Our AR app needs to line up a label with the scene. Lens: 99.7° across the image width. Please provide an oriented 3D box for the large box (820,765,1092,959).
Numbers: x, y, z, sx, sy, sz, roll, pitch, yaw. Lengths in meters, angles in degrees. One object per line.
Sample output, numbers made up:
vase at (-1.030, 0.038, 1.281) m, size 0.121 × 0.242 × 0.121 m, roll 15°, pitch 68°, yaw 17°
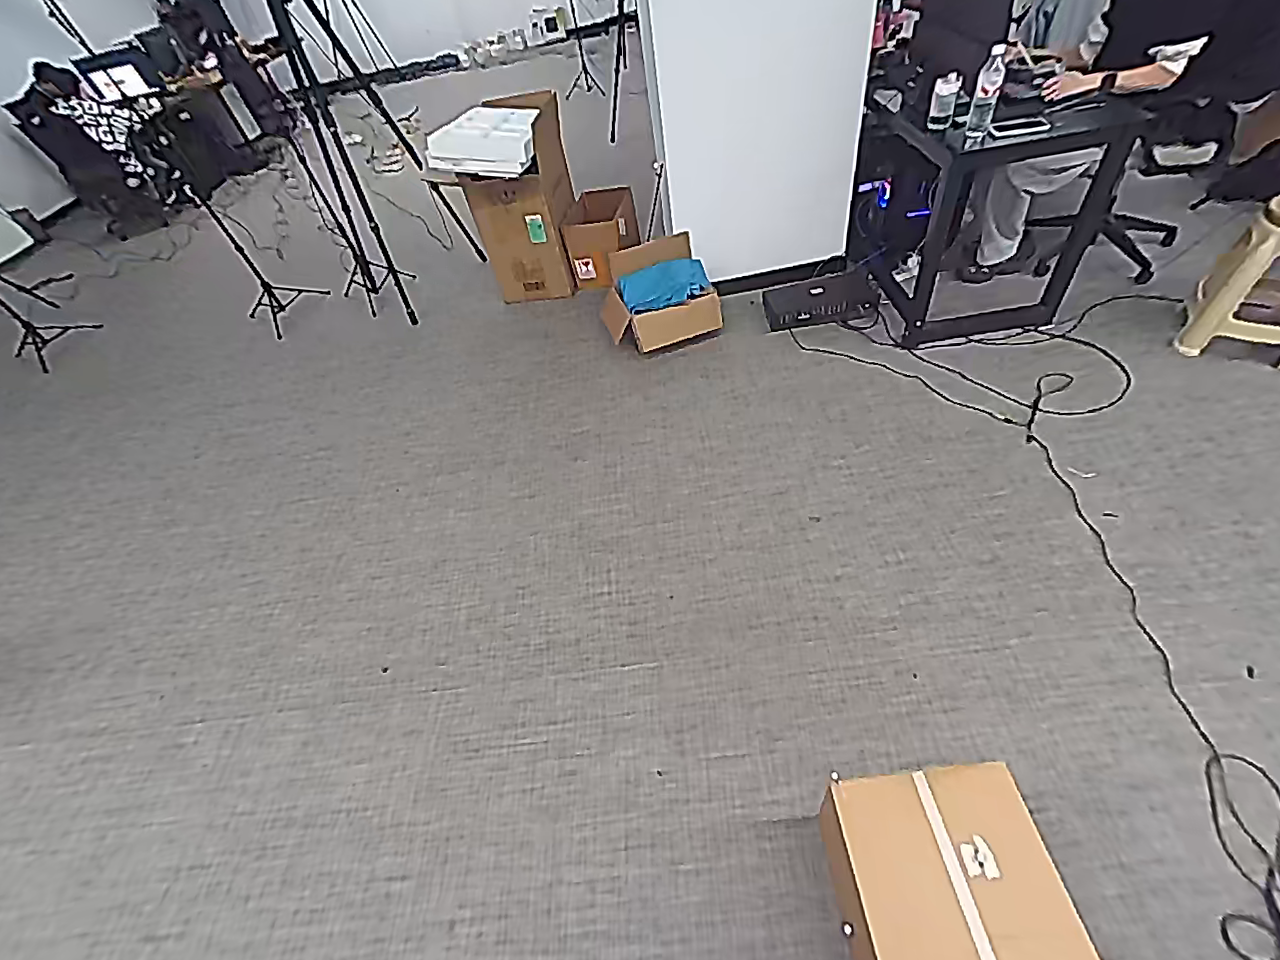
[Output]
large box at (0.540, 0.787, 0.966) m, size 0.320 × 0.320 × 0.408 m, roll -8°, pitch 46°, yaw 4°
